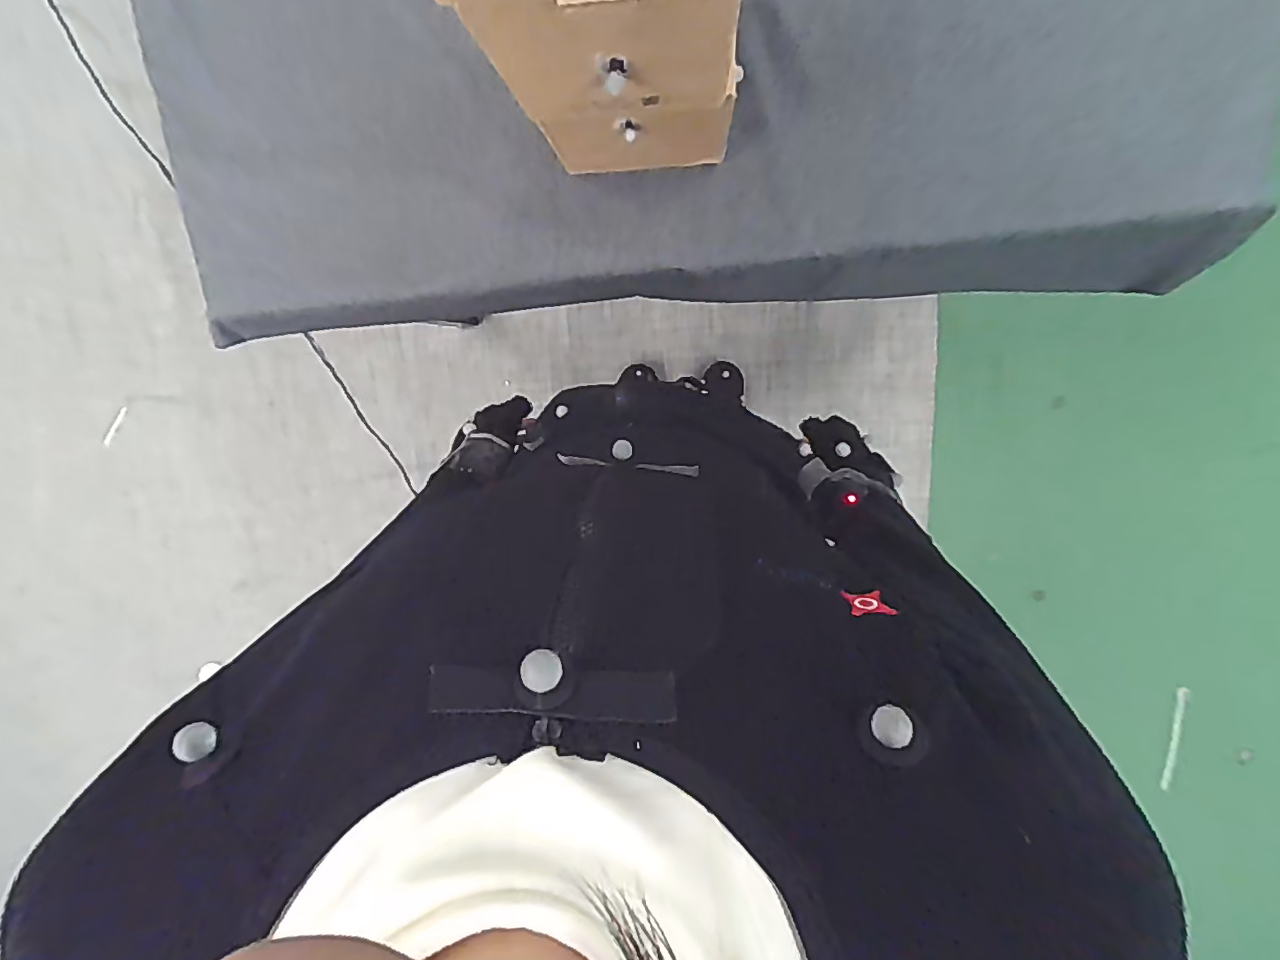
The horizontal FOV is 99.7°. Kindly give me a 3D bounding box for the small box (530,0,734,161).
[{"bbox_3d":[-0.004,-0.424,0.517,0.179,0.176,0.168,-2,104,4],"label":"small box"}]

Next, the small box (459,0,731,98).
[{"bbox_3d":[-0.022,-0.383,0.359,0.168,0.176,0.179,-1,104,5],"label":"small box"}]
